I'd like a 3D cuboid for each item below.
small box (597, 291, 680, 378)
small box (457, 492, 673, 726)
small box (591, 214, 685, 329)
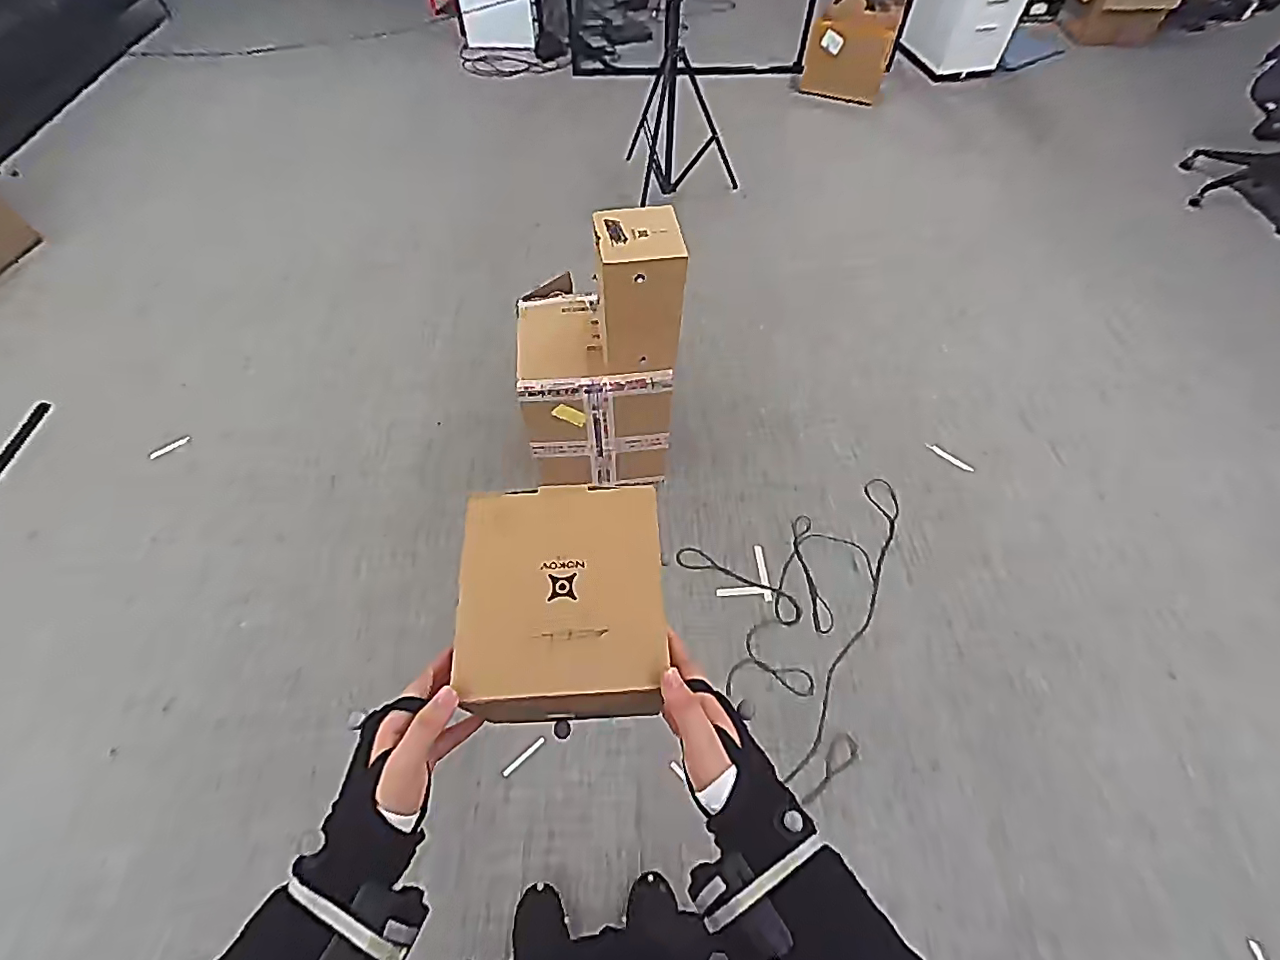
[{"bbox_3d":[-0.010,-0.371,1.328,0.179,0.176,0.168,-8,61,-7],"label":"small box"},{"bbox_3d":[-0.063,0.128,0.518,0.168,0.176,0.179,-3,60,-3],"label":"small box"},{"bbox_3d":[-0.007,-0.449,1.181,0.179,0.176,0.168,-8,61,-6],"label":"small box"}]
